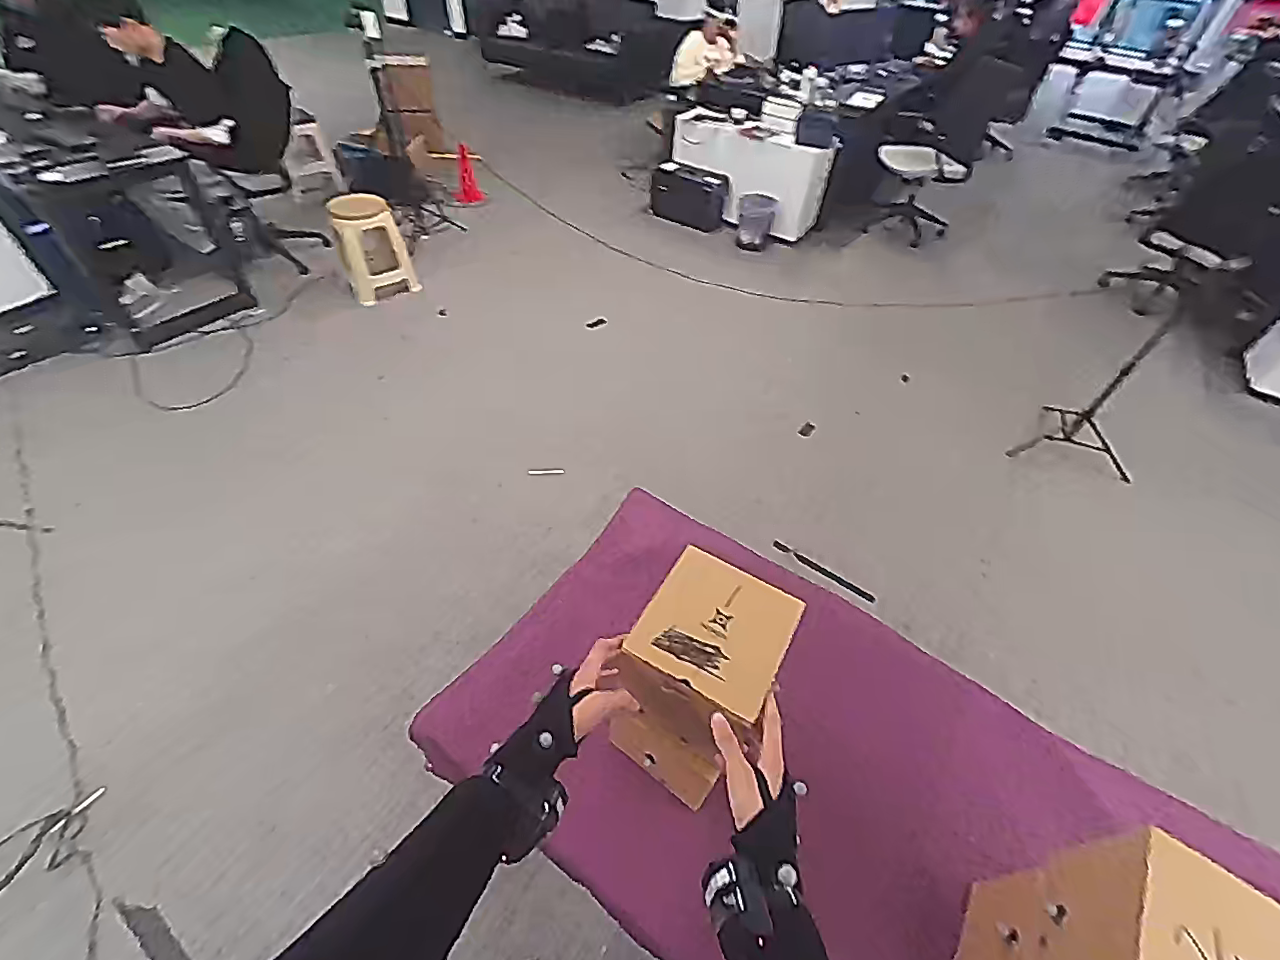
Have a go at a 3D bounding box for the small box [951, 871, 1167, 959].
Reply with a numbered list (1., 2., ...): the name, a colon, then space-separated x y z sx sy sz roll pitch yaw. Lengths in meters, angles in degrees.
1. small box: 0.480 0.604 0.620 0.168 0.176 0.179 31 52 22

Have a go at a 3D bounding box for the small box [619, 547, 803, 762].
1. small box: 0.085 0.227 0.700 0.168 0.176 0.179 26 50 18

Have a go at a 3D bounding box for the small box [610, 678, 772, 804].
1. small box: 0.071 0.348 0.816 0.168 0.176 0.179 32 53 22
